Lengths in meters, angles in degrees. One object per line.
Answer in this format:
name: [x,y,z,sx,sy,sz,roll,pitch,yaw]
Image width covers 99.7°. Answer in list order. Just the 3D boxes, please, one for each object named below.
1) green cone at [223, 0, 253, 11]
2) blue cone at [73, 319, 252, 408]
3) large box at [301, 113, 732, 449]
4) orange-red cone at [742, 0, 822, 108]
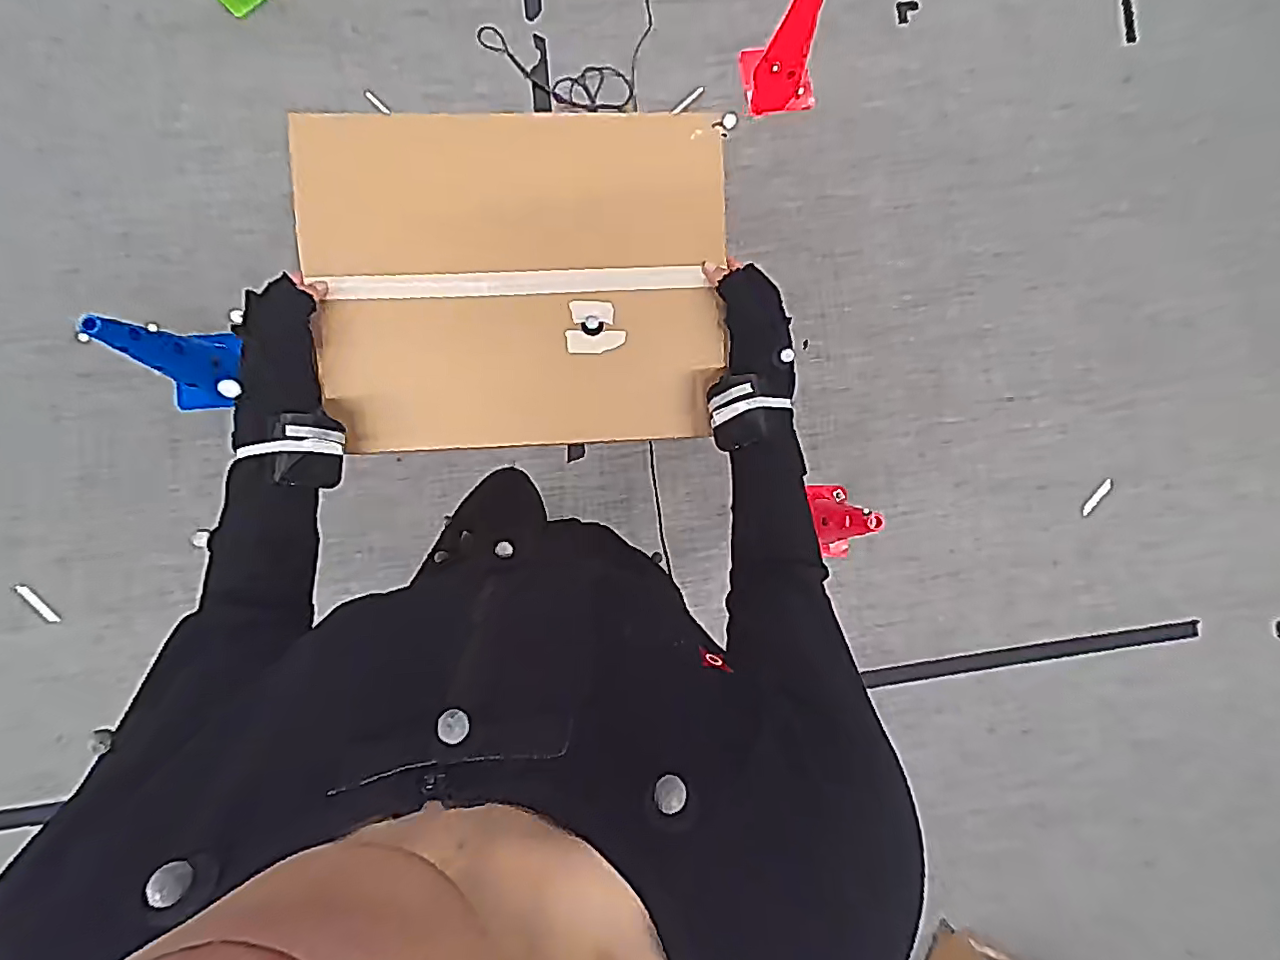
green cone: [-1.101,-1.431,1.322,0.202,0.368,0.200,-44,90,-4]
blue cone: [-1.123,-0.300,1.273,0.192,0.380,0.193,-3,87,-3]
large box: [-0.125,-0.209,0.678,0.408,0.320,0.320,-3,96,-5]
orange-red cone: [0.417,-1.201,1.416,0.198,0.360,0.199,-9,86,-5]
